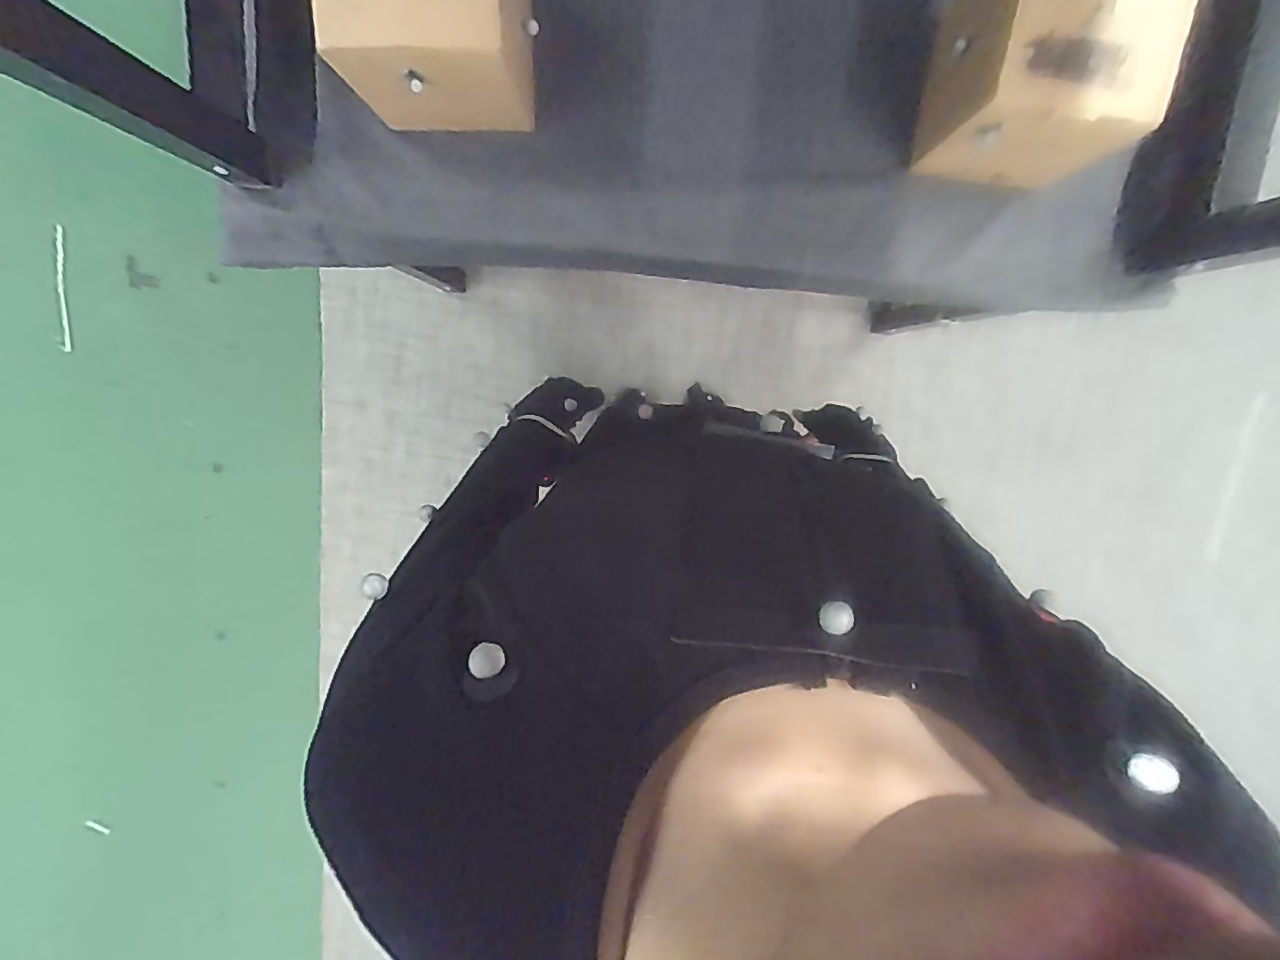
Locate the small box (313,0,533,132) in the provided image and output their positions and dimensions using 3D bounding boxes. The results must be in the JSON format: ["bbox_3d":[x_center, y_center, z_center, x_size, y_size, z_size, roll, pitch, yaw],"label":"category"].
[{"bbox_3d":[-0.217,-0.494,0.571,0.179,0.176,0.168,0,101,-1],"label":"small box"}]
